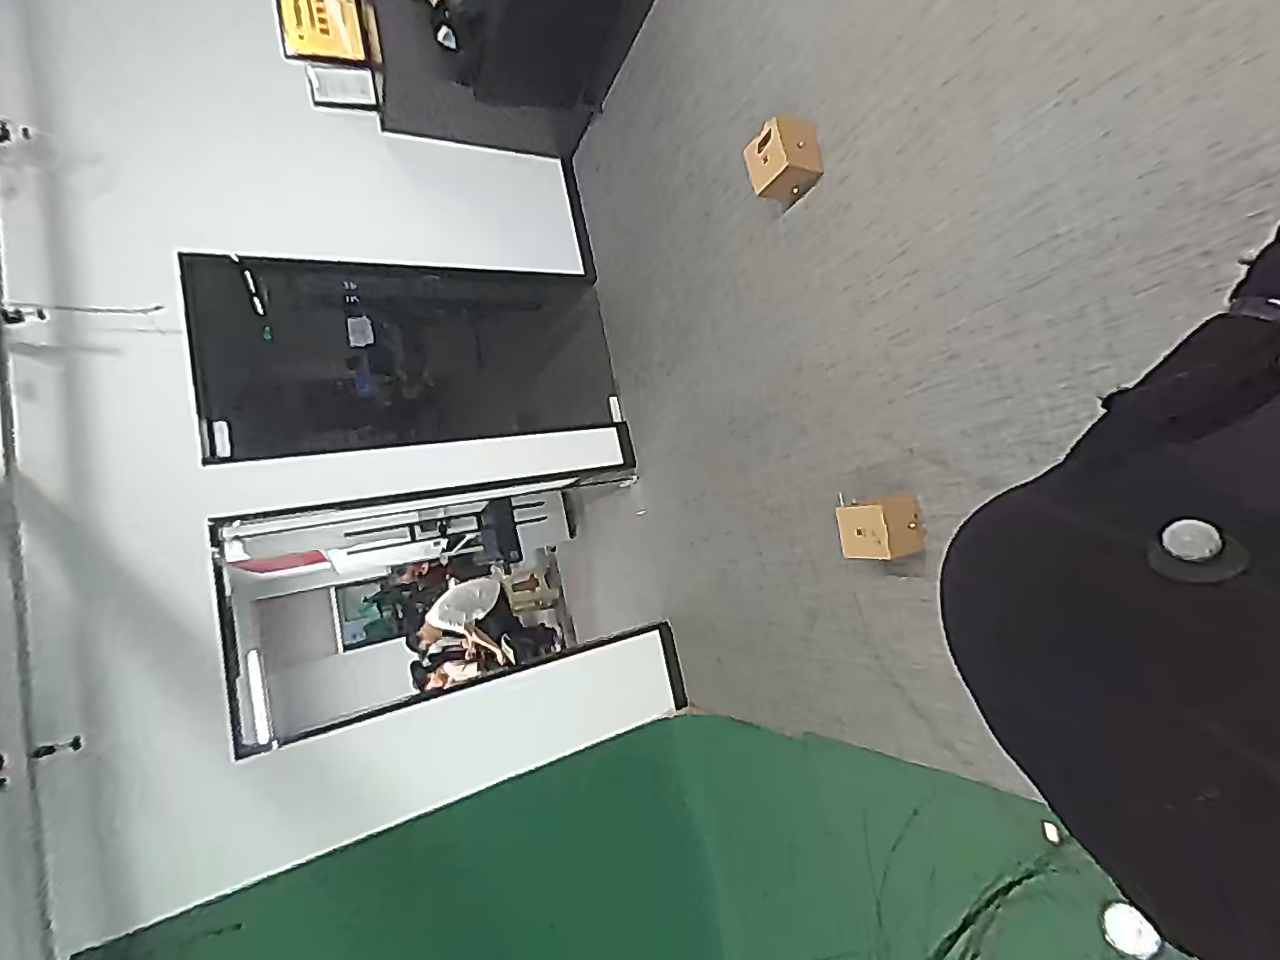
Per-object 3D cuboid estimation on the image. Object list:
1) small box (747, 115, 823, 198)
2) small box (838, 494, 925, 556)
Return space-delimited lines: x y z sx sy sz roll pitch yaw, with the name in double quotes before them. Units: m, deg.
"small box" 0.496 -1.096 1.847 0.168 0.176 0.179 -21 80 61
"small box" 0.759 0.139 1.700 0.179 0.176 0.168 -11 88 61
